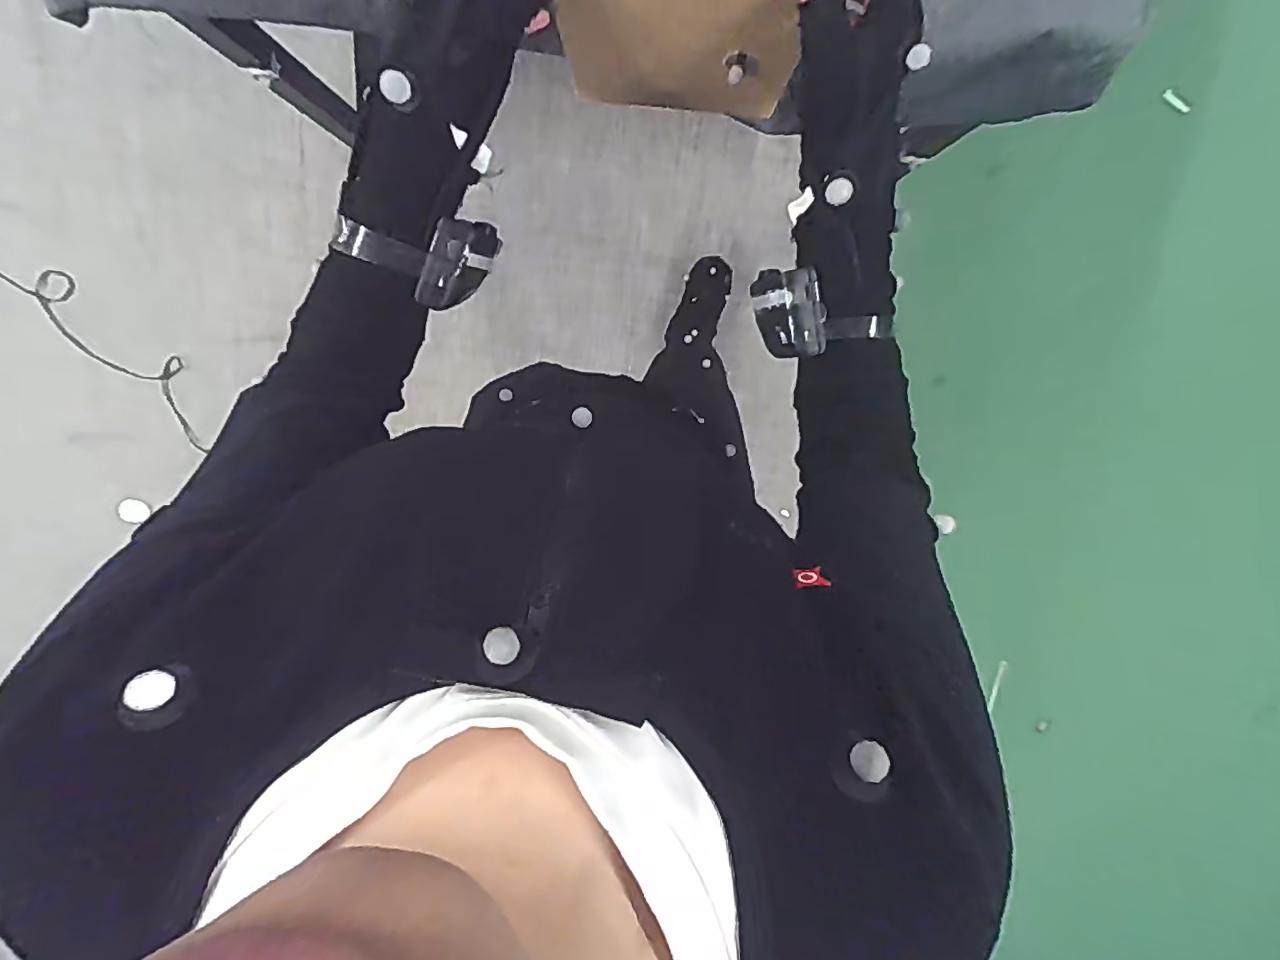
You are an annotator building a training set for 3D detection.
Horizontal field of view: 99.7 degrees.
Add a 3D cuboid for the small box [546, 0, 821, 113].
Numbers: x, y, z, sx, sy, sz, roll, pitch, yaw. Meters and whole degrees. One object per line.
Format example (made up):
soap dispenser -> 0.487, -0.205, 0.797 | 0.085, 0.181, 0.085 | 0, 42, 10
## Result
small box -> 0.033, -0.392, 0.387 | 0.179, 0.176, 0.168 | 4, 101, 1
